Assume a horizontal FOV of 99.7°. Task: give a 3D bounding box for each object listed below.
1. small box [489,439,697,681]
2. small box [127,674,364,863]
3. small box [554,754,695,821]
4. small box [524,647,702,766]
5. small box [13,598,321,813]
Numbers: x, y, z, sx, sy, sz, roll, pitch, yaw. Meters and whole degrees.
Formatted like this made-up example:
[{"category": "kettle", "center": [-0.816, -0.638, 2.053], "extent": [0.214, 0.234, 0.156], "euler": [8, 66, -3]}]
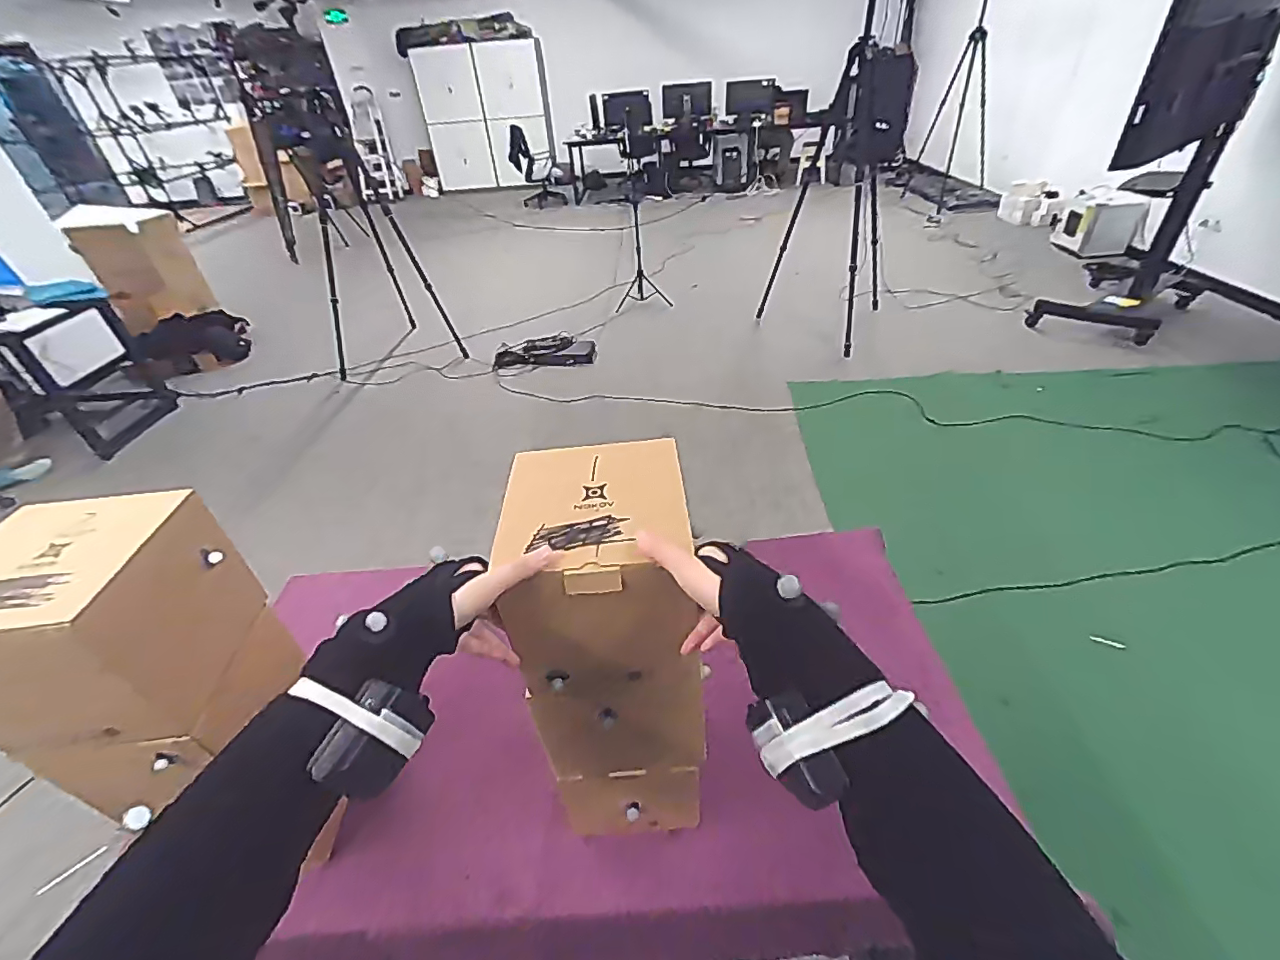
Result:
[{"category": "small box", "center": [-0.034, 0.081, 0.535], "extent": [0.168, 0.176, 0.179], "euler": [-5, 36, 0]}, {"category": "small box", "center": [-0.502, 0.389, 0.727], "extent": [0.168, 0.176, 0.179], "euler": [-4, 38, -1]}, {"category": "small box", "center": [-0.015, 0.343, 0.736], "extent": [0.168, 0.176, 0.179], "euler": [-4, 39, 1]}, {"category": "small box", "center": [-0.023, 0.214, 0.632], "extent": [0.179, 0.176, 0.168], "euler": [-4, 38, 1]}, {"category": "small box", "center": [-0.516, 0.261, 0.628], "extent": [0.179, 0.176, 0.168], "euler": [-5, 38, -3]}]
